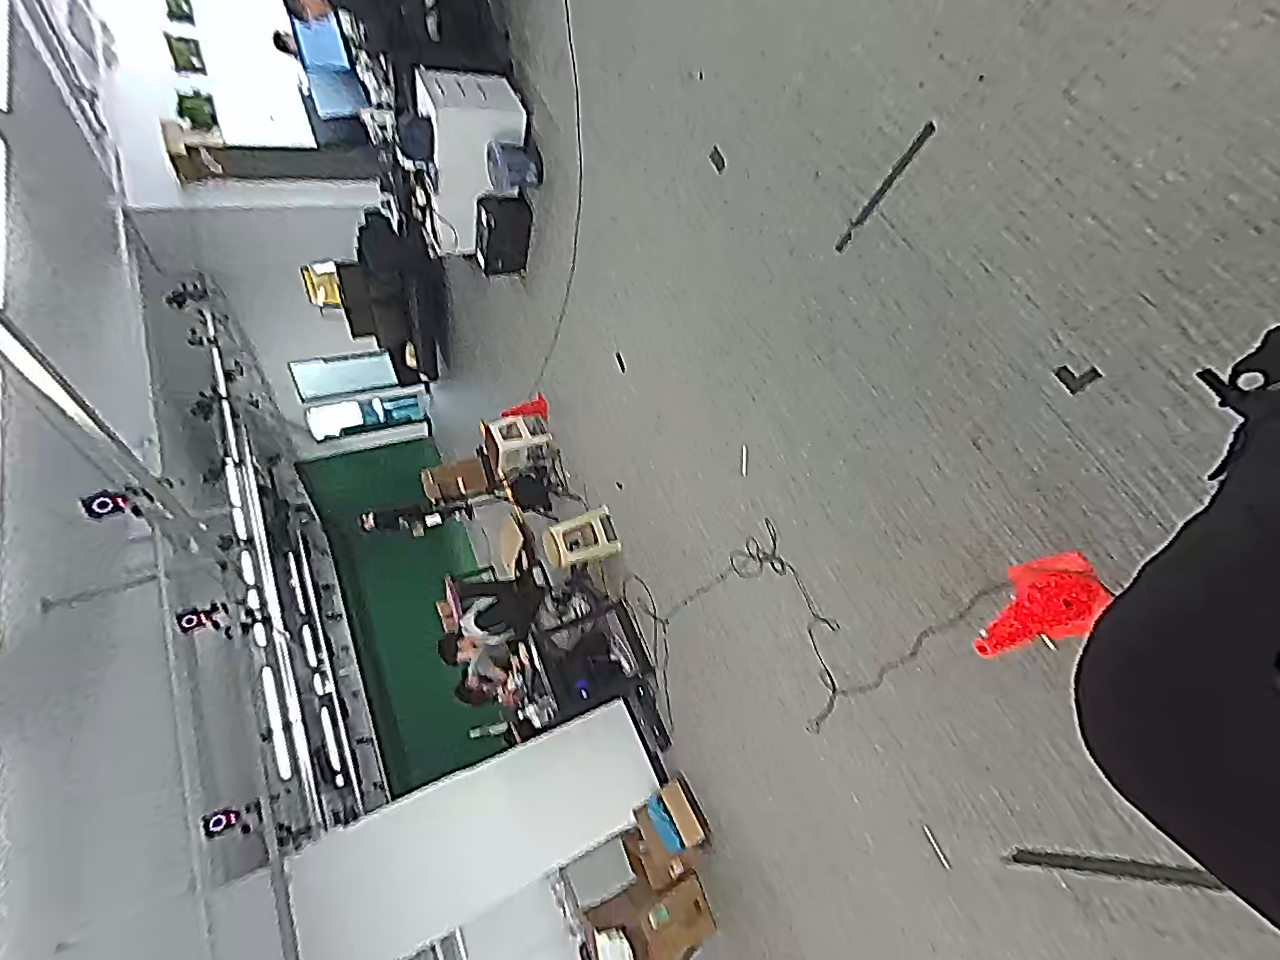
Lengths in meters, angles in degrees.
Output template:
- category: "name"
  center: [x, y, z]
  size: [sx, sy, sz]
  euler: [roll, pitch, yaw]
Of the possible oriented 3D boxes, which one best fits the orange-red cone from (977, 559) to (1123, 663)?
- category: "orange-red cone"
  center: [0.927, 0.349, 1.294]
  size: [0.198, 0.360, 0.199]
  euler: [67, 152, 14]
